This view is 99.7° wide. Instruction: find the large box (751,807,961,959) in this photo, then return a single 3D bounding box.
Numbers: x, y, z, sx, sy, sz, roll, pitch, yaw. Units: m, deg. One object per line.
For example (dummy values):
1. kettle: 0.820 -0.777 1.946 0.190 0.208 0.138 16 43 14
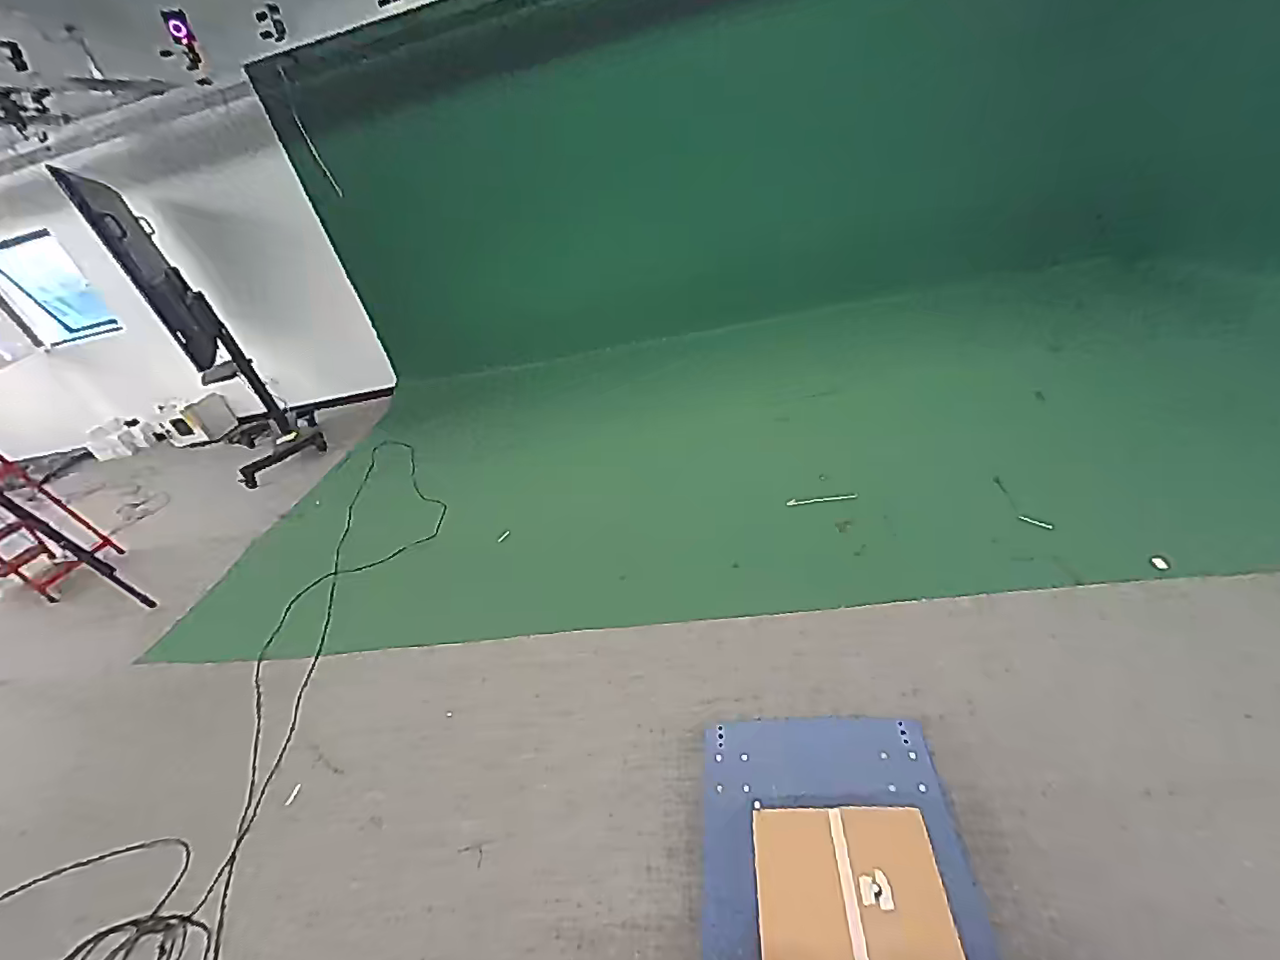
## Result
1. large box: 0.390 0.879 0.975 0.320 0.320 0.408 -8 33 12
